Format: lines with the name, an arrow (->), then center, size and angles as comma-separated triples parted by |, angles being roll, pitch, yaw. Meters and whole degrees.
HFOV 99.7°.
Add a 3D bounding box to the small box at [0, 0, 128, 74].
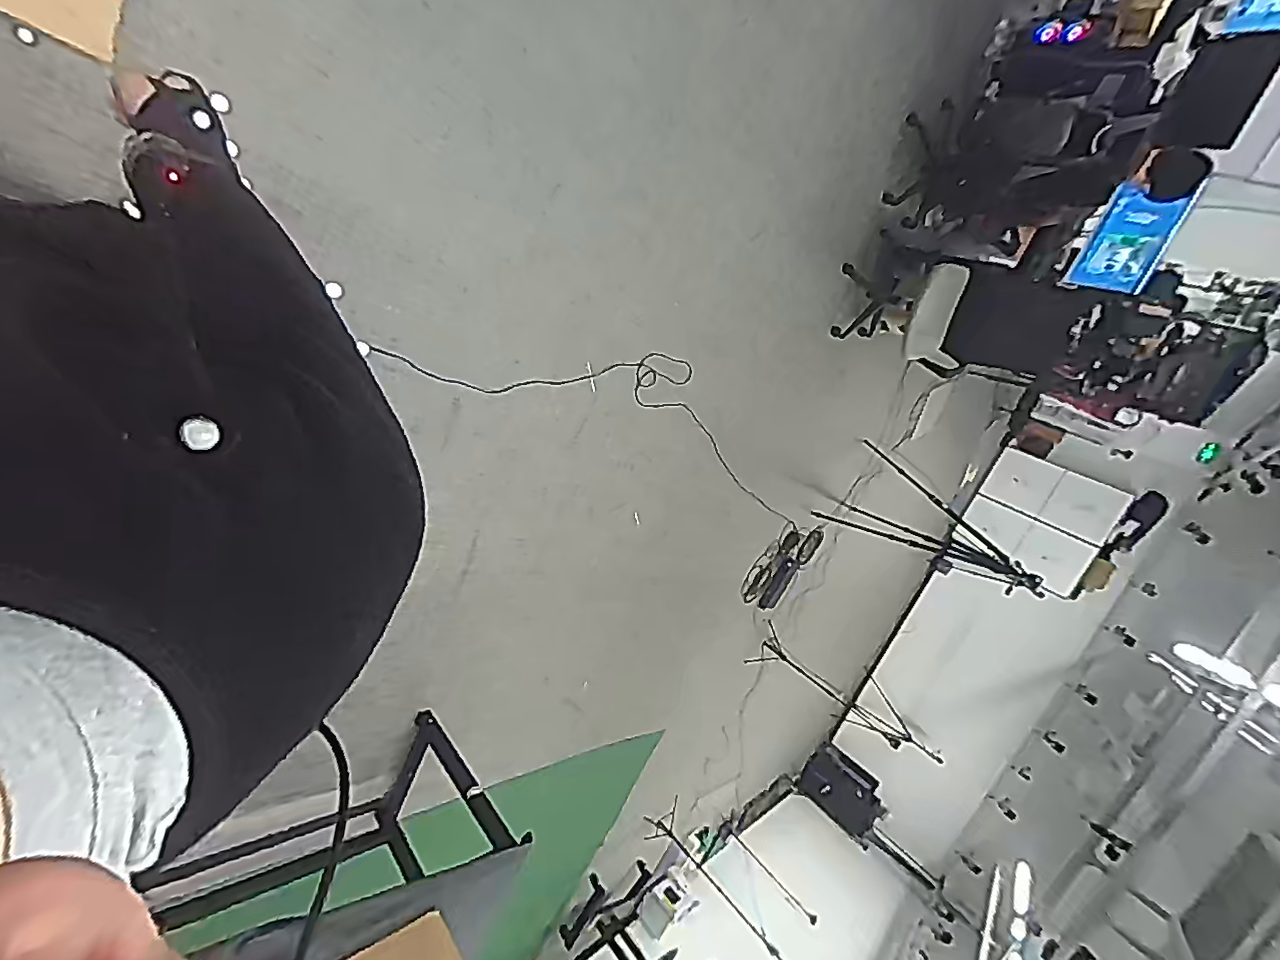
small box -> -0.924, -0.778, 0.844 | 0.168, 0.176, 0.179 | 7, 111, -49
